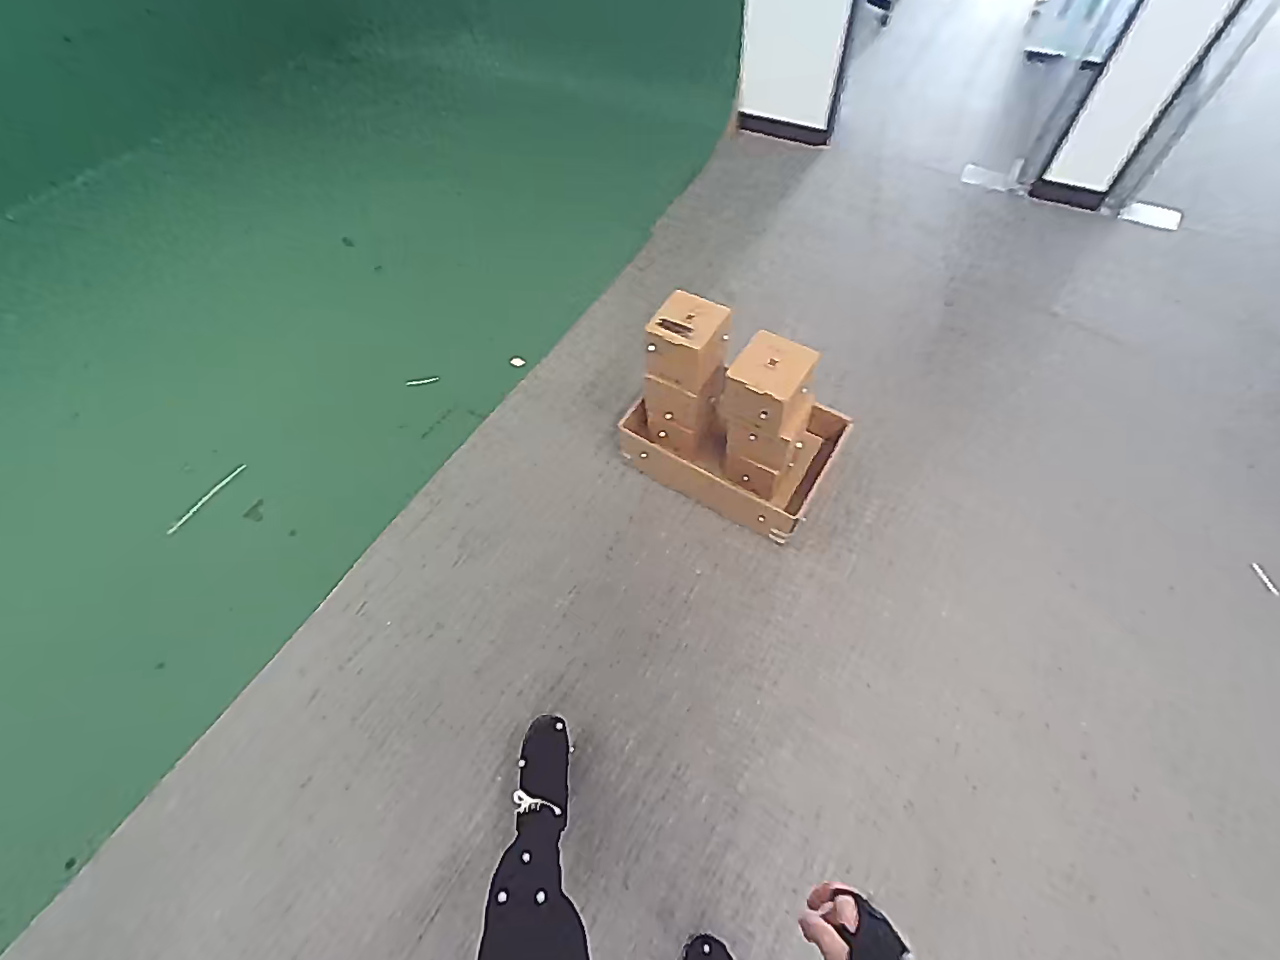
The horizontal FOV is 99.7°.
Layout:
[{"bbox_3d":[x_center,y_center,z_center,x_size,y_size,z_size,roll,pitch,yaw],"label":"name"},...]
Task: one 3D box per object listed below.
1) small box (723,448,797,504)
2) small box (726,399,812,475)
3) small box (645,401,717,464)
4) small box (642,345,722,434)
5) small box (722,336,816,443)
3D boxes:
[{"bbox_3d":[0.365,-0.055,1.651,0.168,0.176,0.179,29,65,20],"label":"small box"},{"bbox_3d":[0.351,-0.140,1.509,0.179,0.176,0.168,26,65,18],"label":"small box"},{"bbox_3d":[0.134,-0.180,1.745,0.168,0.176,0.179,28,66,18],"label":"small box"},{"bbox_3d":[0.122,-0.261,1.601,0.179,0.176,0.168,28,64,17],"label":"small box"},{"bbox_3d":[0.320,-0.225,1.373,0.168,0.176,0.179,30,66,20],"label":"small box"}]
